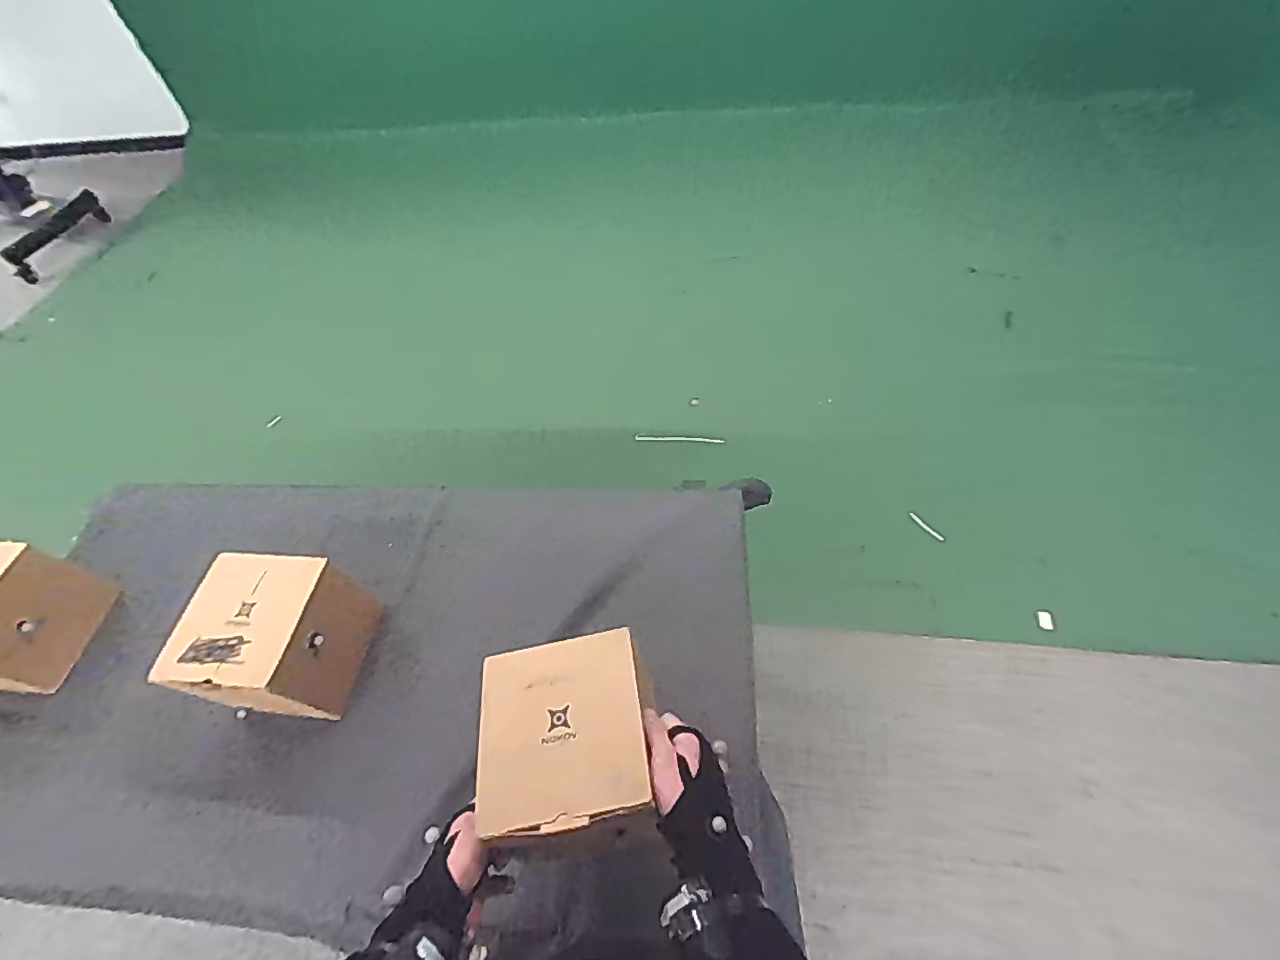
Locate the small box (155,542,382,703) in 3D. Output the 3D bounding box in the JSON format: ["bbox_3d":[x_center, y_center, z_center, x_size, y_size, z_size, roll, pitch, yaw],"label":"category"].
[{"bbox_3d":[-0.500,0.206,0.763,0.168,0.176,0.179,2,57,8],"label":"small box"}]

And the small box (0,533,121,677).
[{"bbox_3d":[-0.970,0.193,0.825,0.168,0.176,0.179,2,58,6],"label":"small box"}]
